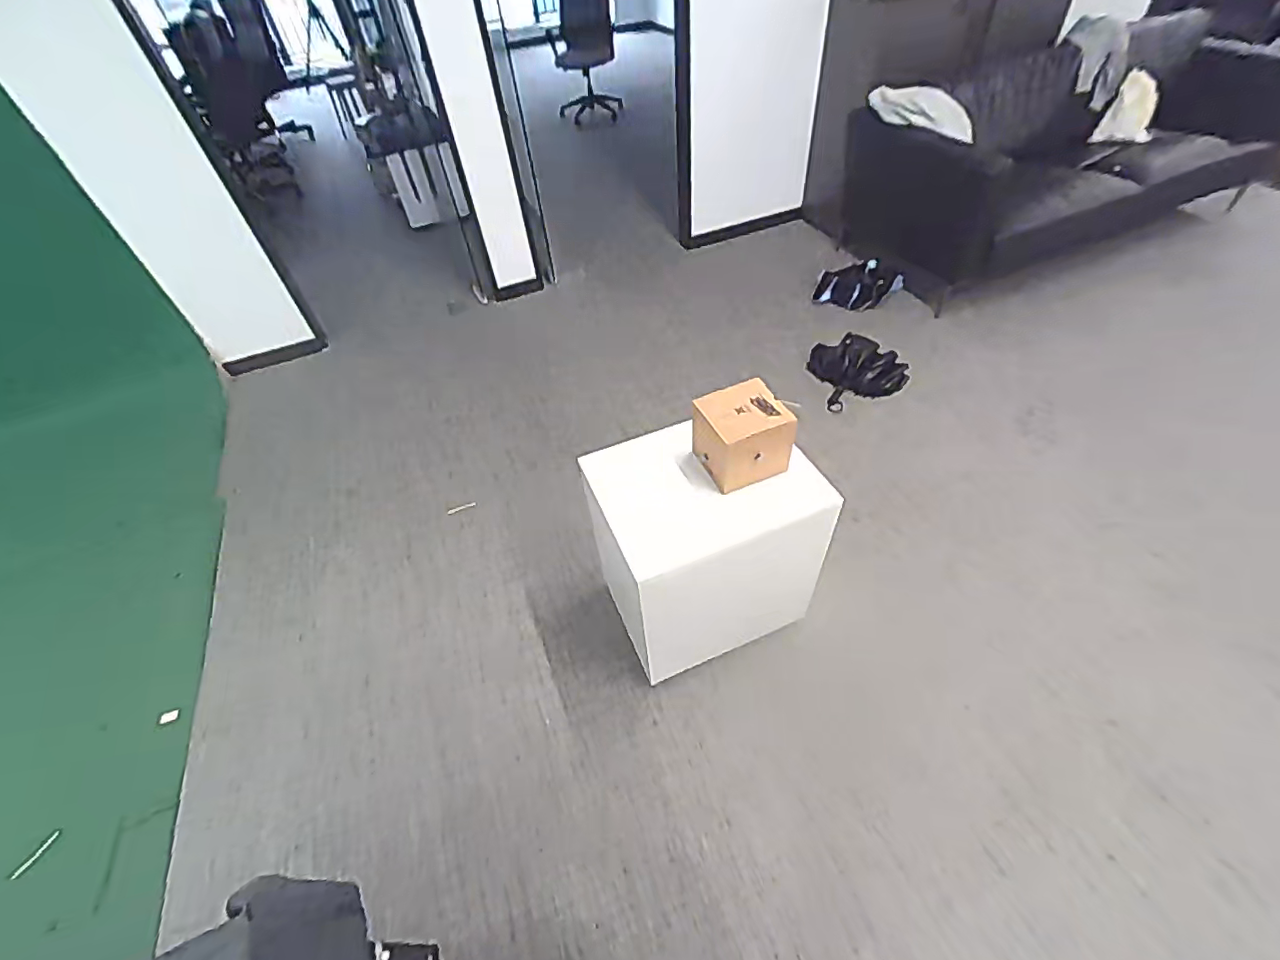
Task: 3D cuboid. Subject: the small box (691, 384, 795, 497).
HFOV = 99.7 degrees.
[{"bbox_3d":[0.228,-0.089,1.252,0.179,0.176,0.168,-19,49,-13],"label":"small box"}]
